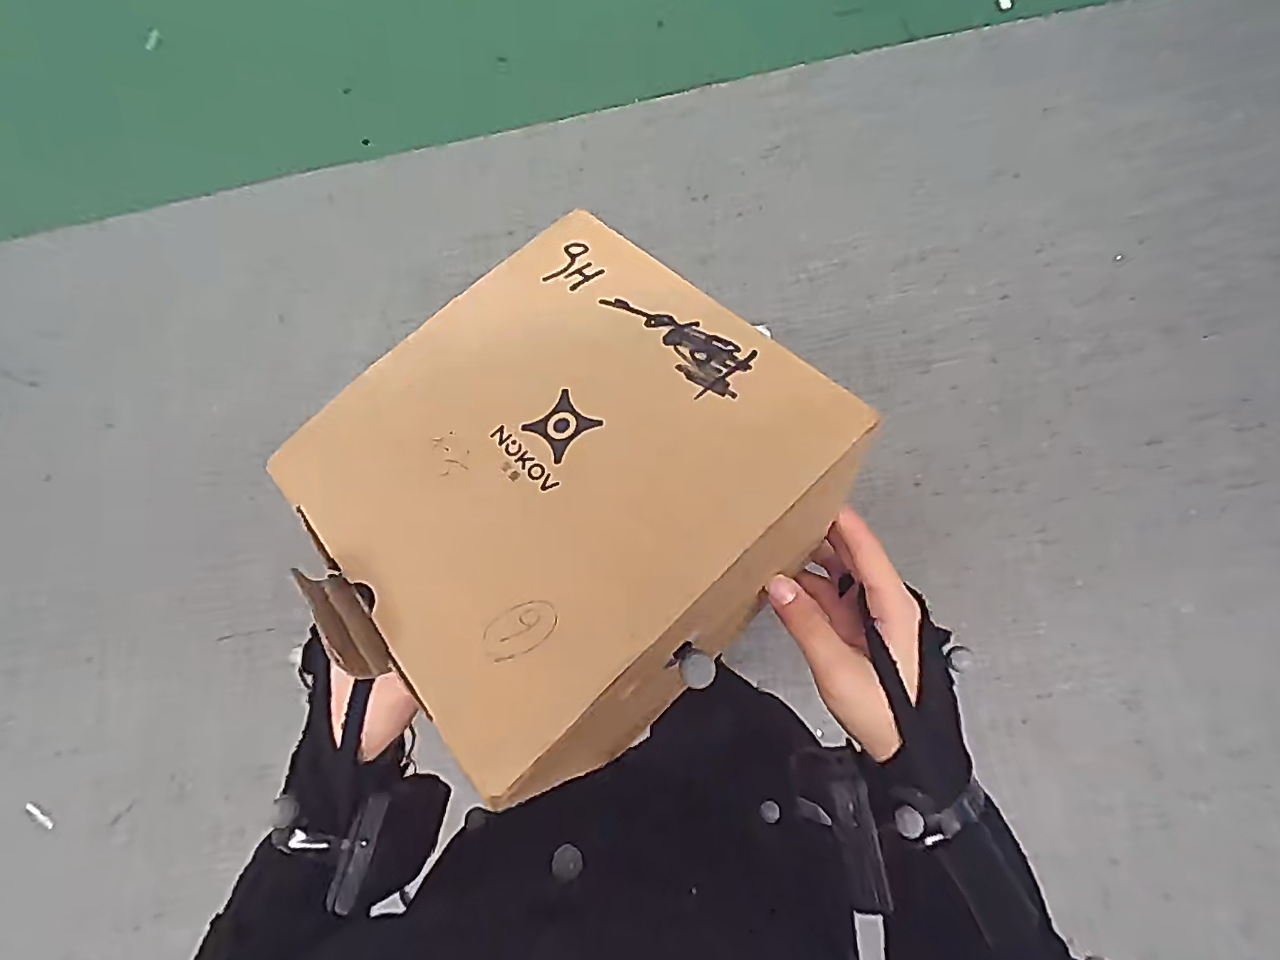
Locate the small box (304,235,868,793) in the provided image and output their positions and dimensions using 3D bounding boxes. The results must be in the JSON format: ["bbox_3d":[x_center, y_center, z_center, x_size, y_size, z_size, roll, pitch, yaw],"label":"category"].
[{"bbox_3d":[-0.016,0.023,0.285,0.179,0.176,0.168,-43,67,-9],"label":"small box"}]
